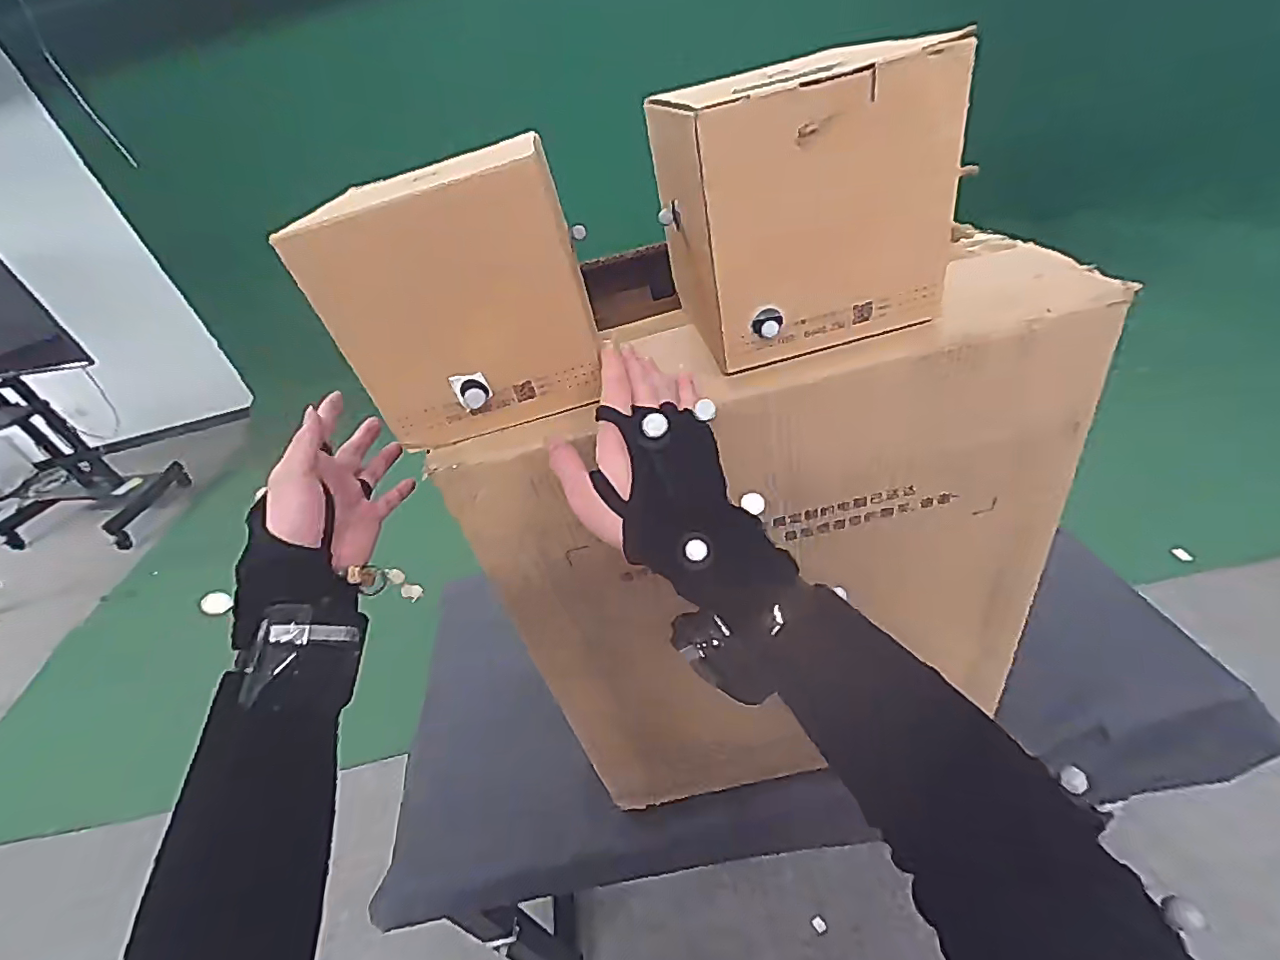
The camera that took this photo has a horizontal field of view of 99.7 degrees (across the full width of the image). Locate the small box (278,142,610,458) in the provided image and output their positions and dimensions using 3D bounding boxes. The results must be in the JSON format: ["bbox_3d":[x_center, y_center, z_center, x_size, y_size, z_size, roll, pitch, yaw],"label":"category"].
[{"bbox_3d":[-0.131,-0.145,0.433,0.168,0.176,0.179,-18,38,2],"label":"small box"}]

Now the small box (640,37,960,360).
[{"bbox_3d":[0.108,-0.208,0.416,0.168,0.176,0.179,-15,37,0],"label":"small box"}]
